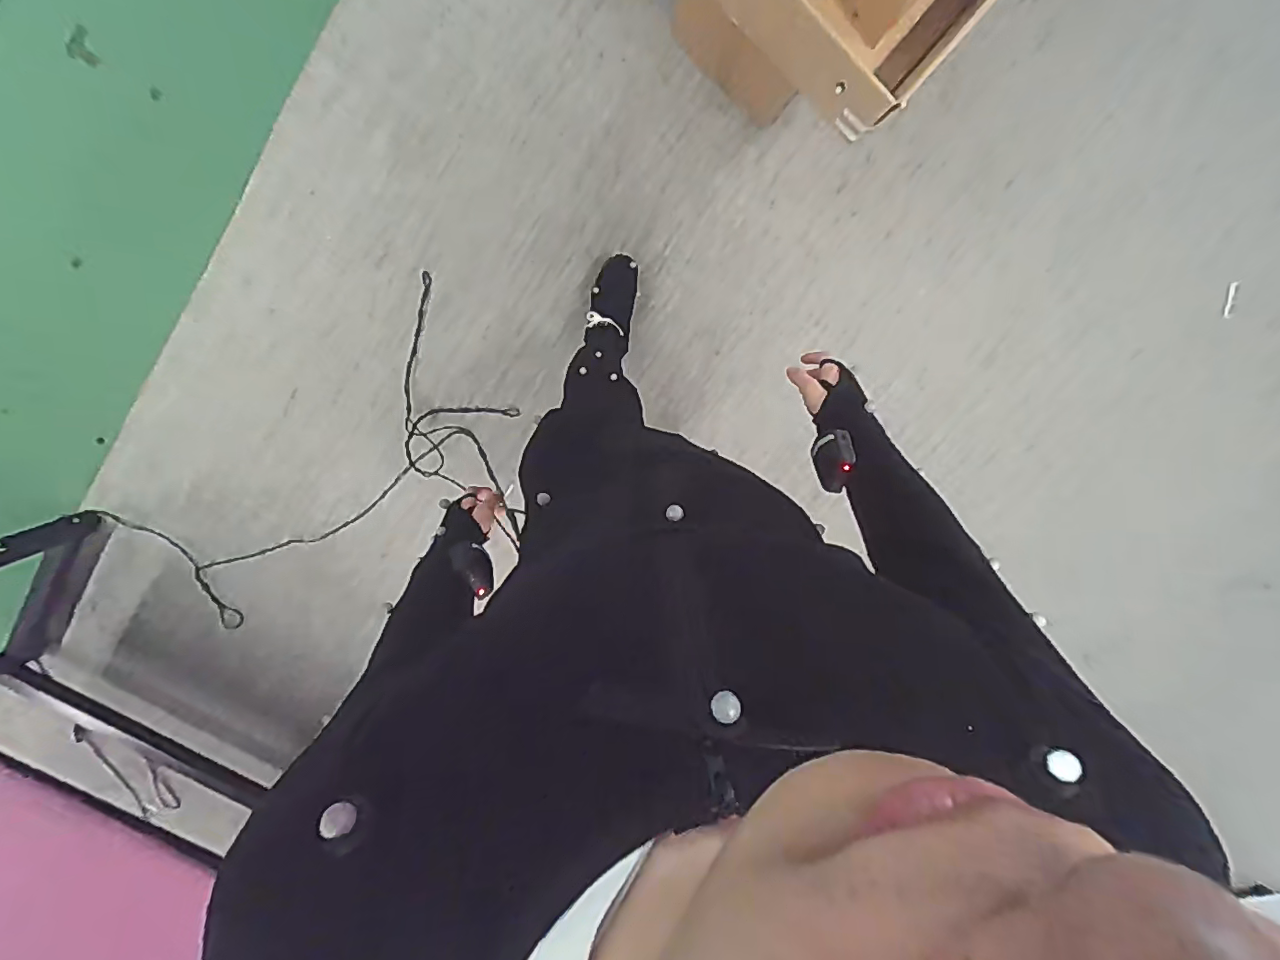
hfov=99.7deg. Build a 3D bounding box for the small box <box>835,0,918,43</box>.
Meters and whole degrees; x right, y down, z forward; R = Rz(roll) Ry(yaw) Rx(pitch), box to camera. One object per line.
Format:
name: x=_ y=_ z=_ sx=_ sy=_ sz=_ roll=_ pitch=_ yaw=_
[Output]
small box: x=0.418 y=-0.866 z=0.859 sx=0.168 sy=0.176 sz=0.179 roll=42 pitch=102 yaw=-11
